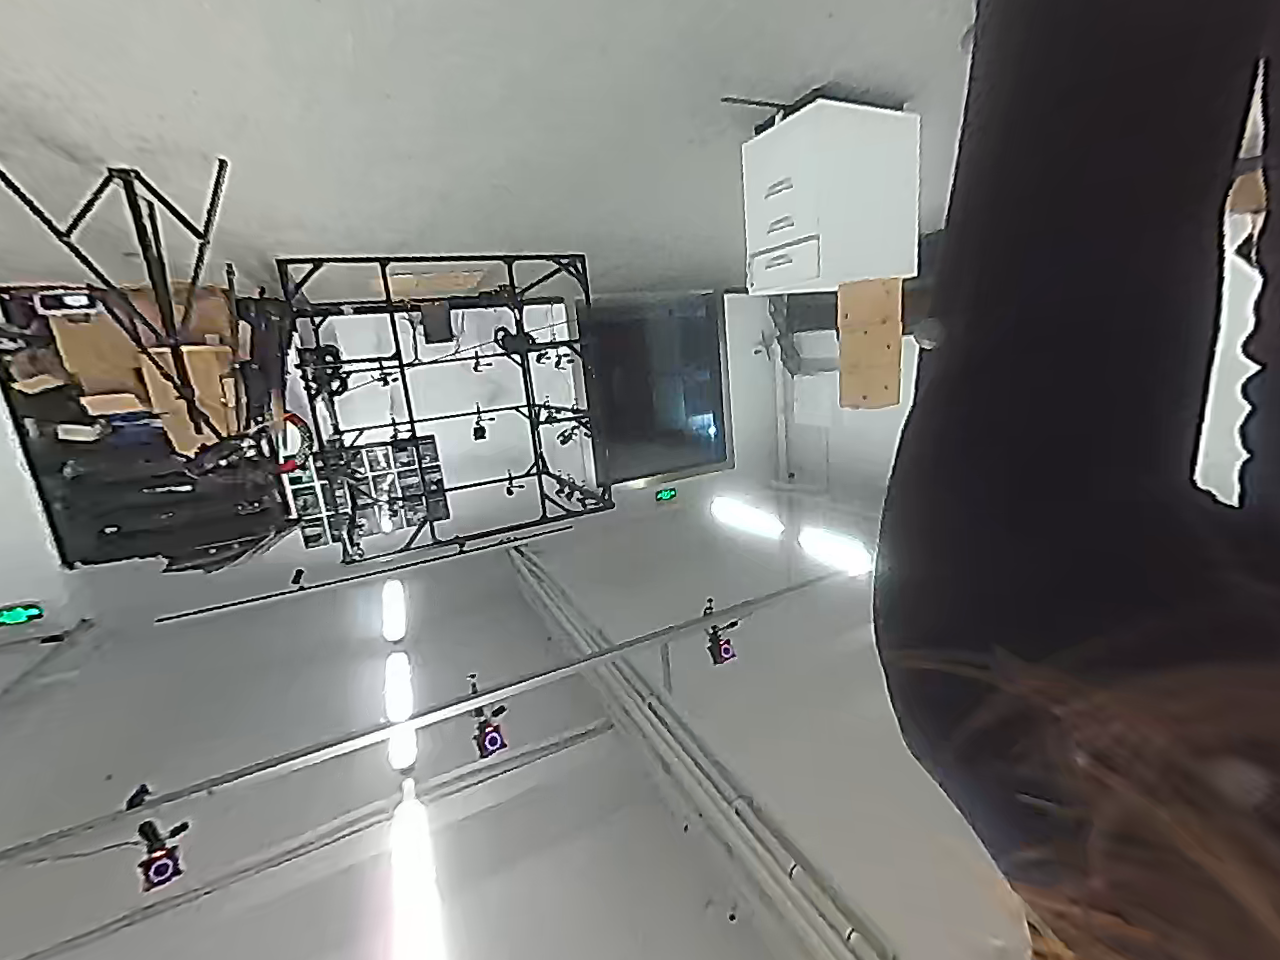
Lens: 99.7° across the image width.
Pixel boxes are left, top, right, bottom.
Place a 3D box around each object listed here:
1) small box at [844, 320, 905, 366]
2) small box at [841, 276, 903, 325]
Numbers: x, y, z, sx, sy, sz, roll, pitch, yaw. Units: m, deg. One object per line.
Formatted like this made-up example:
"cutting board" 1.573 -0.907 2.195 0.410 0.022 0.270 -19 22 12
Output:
"small box" 0.951 -0.558 2.201 0.179 0.176 0.168 -13 -164 -25
"small box" 0.933 -0.718 2.166 0.168 0.176 0.179 -12 -165 -24
